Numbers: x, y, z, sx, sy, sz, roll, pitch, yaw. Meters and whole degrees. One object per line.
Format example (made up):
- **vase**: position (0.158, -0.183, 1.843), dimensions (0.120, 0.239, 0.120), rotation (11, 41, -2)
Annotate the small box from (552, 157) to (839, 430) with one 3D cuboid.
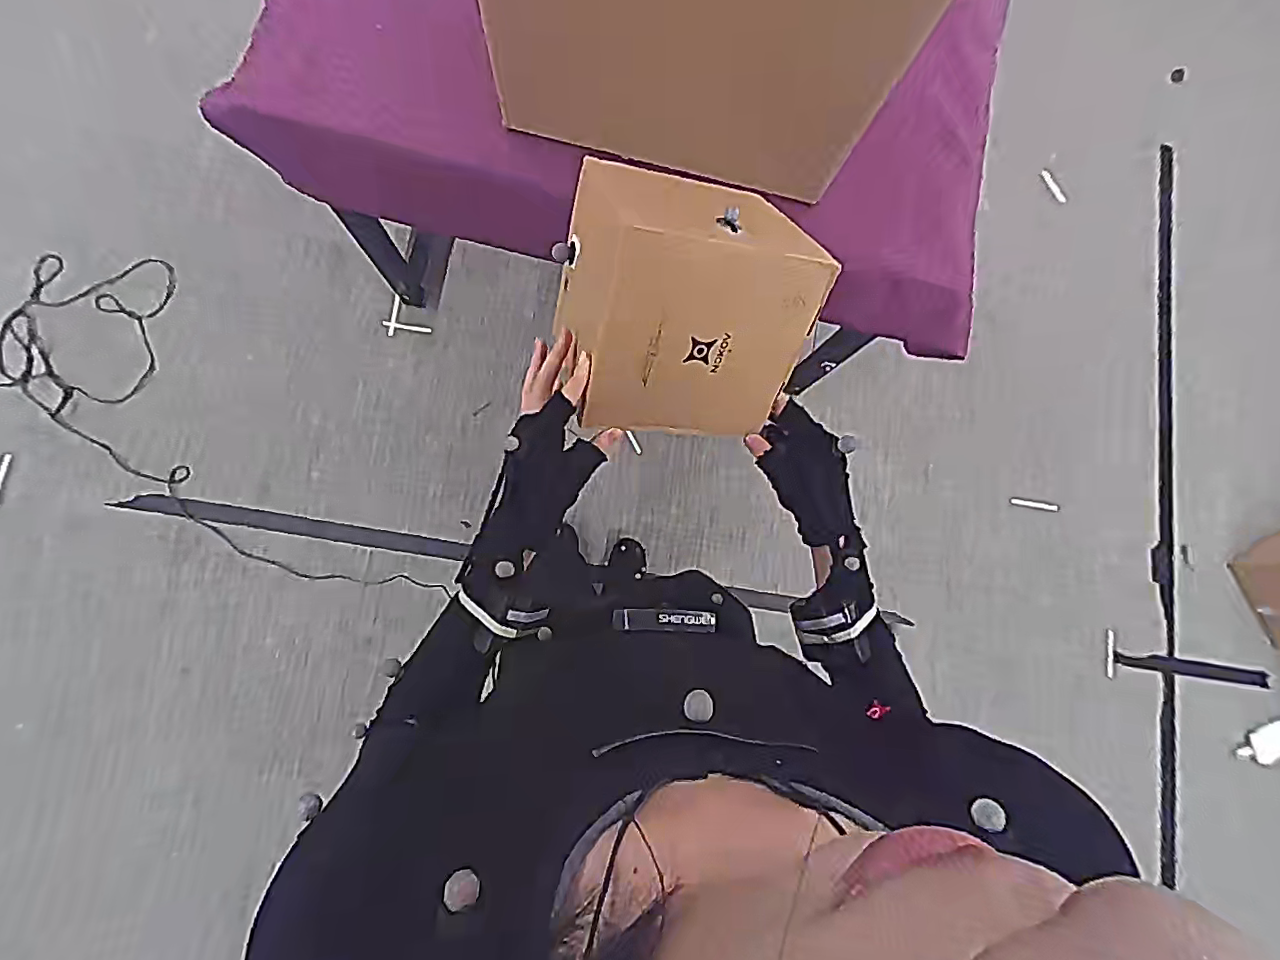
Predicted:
- **small box**: position (0.029, -0.161, 0.474), dimensions (0.179, 0.168, 0.176), rotation (0, 42, -19)
